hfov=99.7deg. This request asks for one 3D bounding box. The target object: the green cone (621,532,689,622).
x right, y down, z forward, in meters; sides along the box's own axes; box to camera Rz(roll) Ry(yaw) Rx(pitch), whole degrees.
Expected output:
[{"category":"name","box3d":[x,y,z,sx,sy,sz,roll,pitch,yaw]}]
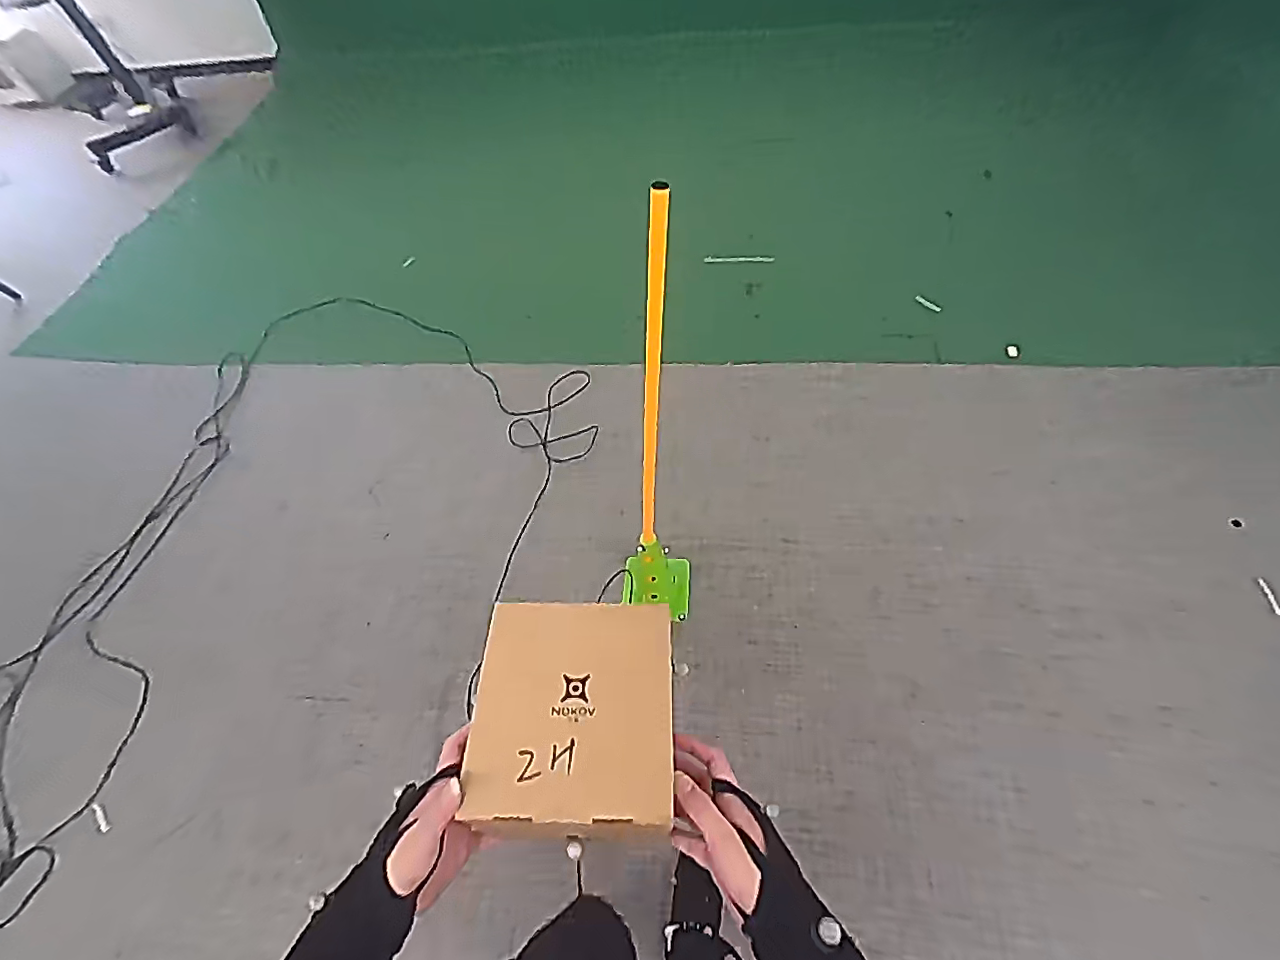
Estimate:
[{"category":"green cone","box3d":[0.031,0.240,1.512,0.202,0.368,0.200,1,57,7]}]

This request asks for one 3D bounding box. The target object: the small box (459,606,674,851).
[{"category":"small box","box3d":[-0.054,0.239,0.519,0.168,0.176,0.179,1,51,2]}]
